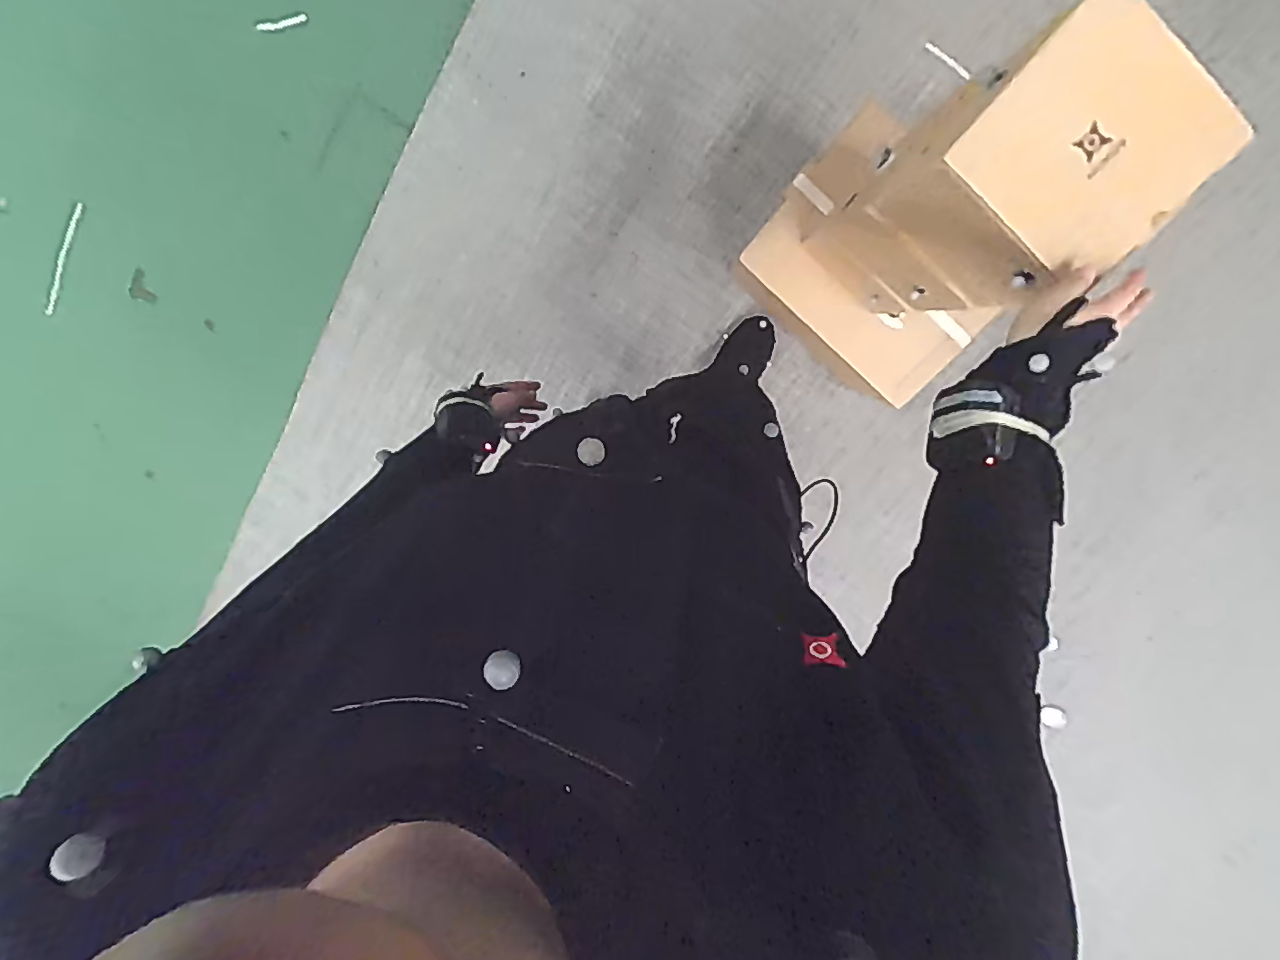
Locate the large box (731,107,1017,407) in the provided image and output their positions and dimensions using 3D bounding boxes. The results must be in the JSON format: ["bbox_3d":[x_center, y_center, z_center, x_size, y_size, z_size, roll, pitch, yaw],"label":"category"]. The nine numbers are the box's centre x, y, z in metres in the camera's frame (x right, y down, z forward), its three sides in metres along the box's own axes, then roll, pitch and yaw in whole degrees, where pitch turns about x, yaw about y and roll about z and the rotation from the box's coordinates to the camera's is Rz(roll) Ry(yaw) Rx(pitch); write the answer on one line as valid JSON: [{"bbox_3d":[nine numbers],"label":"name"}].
[{"bbox_3d":[0.436,-0.406,1.059,0.408,0.320,0.320,40,107,-7],"label":"large box"}]

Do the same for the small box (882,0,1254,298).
[{"bbox_3d":[0.366,-0.287,0.505,0.179,0.176,0.168,40,105,-8],"label":"small box"}]

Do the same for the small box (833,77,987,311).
[{"bbox_3d":[0.371,-0.328,0.662,0.179,0.176,0.168,37,105,-5],"label":"small box"}]
